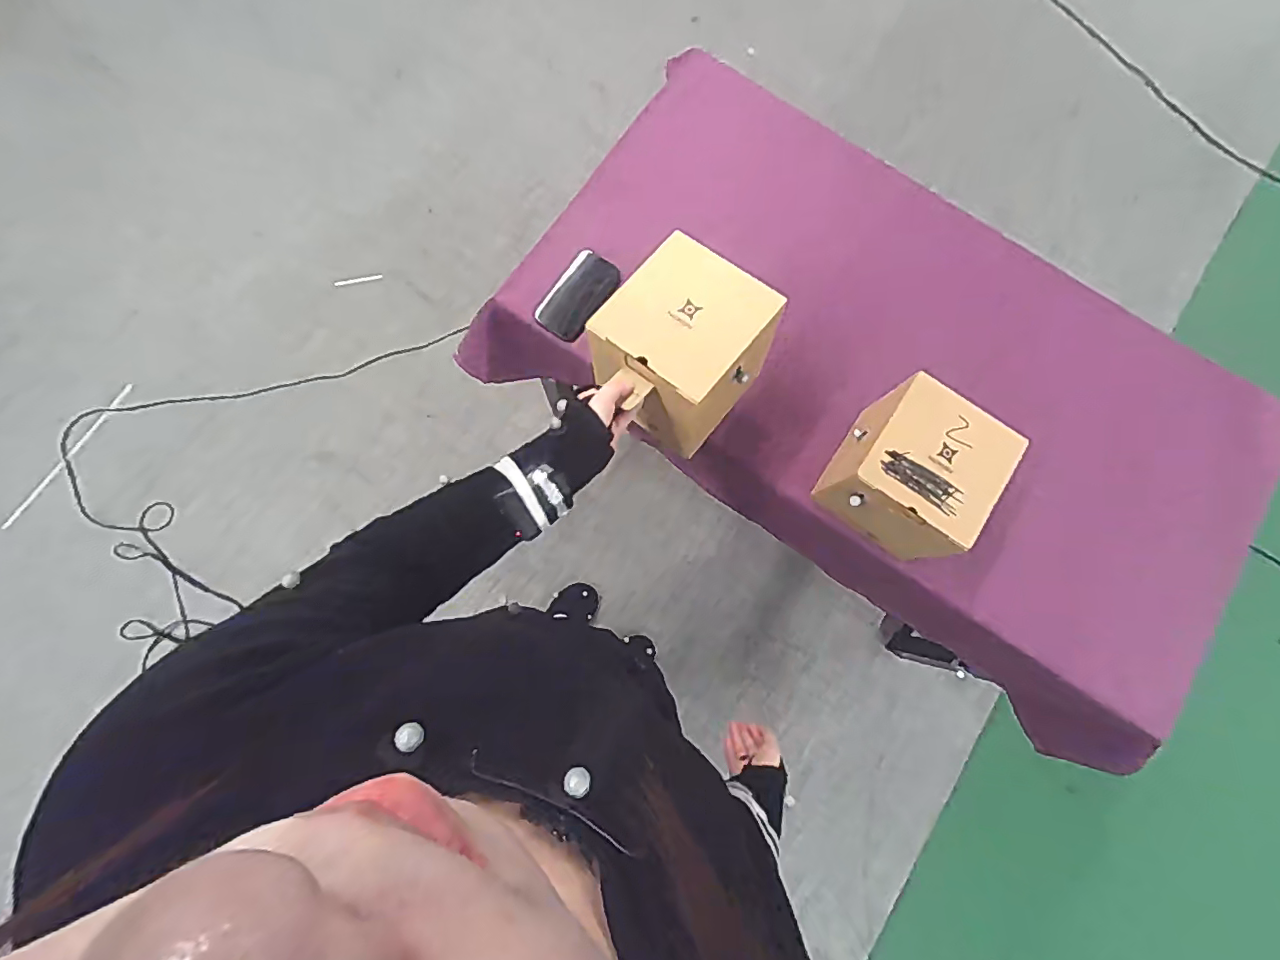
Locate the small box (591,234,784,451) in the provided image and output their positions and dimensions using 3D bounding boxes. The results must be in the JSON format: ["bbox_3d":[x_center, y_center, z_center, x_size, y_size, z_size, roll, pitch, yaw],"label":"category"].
[{"bbox_3d":[0.056,-0.170,0.709,0.168,0.176,0.179,37,76,12],"label":"small box"}]
